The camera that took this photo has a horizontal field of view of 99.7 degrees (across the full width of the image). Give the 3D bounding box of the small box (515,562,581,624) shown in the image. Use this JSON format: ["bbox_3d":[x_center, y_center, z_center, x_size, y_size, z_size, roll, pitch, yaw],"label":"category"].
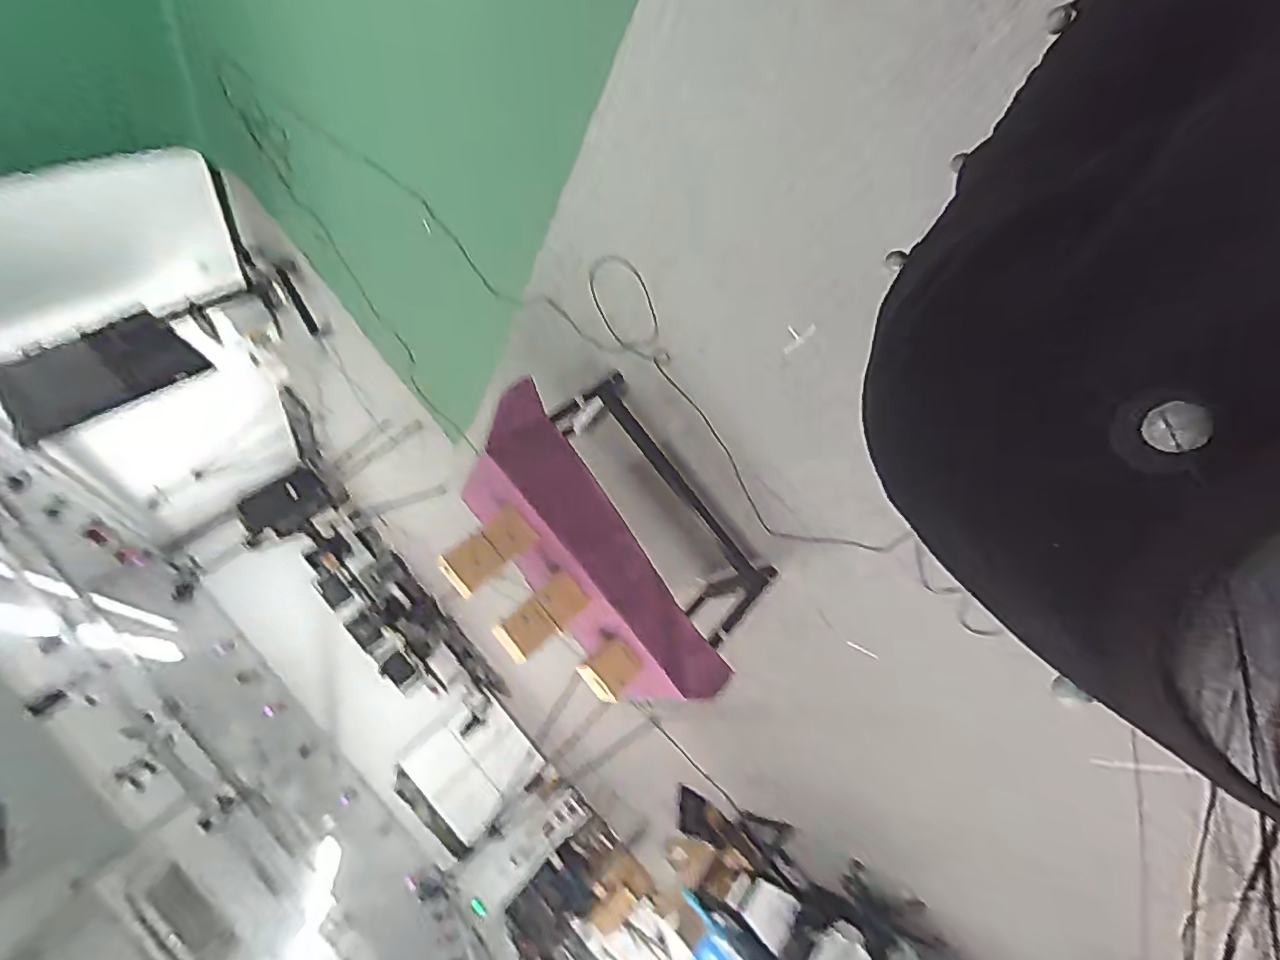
[{"bbox_3d":[-0.362,0.452,2.152,0.179,0.176,0.168,53,148,-2],"label":"small box"}]

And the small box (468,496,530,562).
[{"bbox_3d":[-0.562,0.194,2.131,0.179,0.176,0.168,50,147,0],"label":"small box"}]

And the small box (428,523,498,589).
[{"bbox_3d":[-0.667,0.281,2.040,0.179,0.176,0.168,51,148,-1],"label":"small box"}]

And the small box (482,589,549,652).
[{"bbox_3d":[-0.473,0.533,2.064,0.168,0.176,0.179,53,148,-1],"label":"small box"}]
